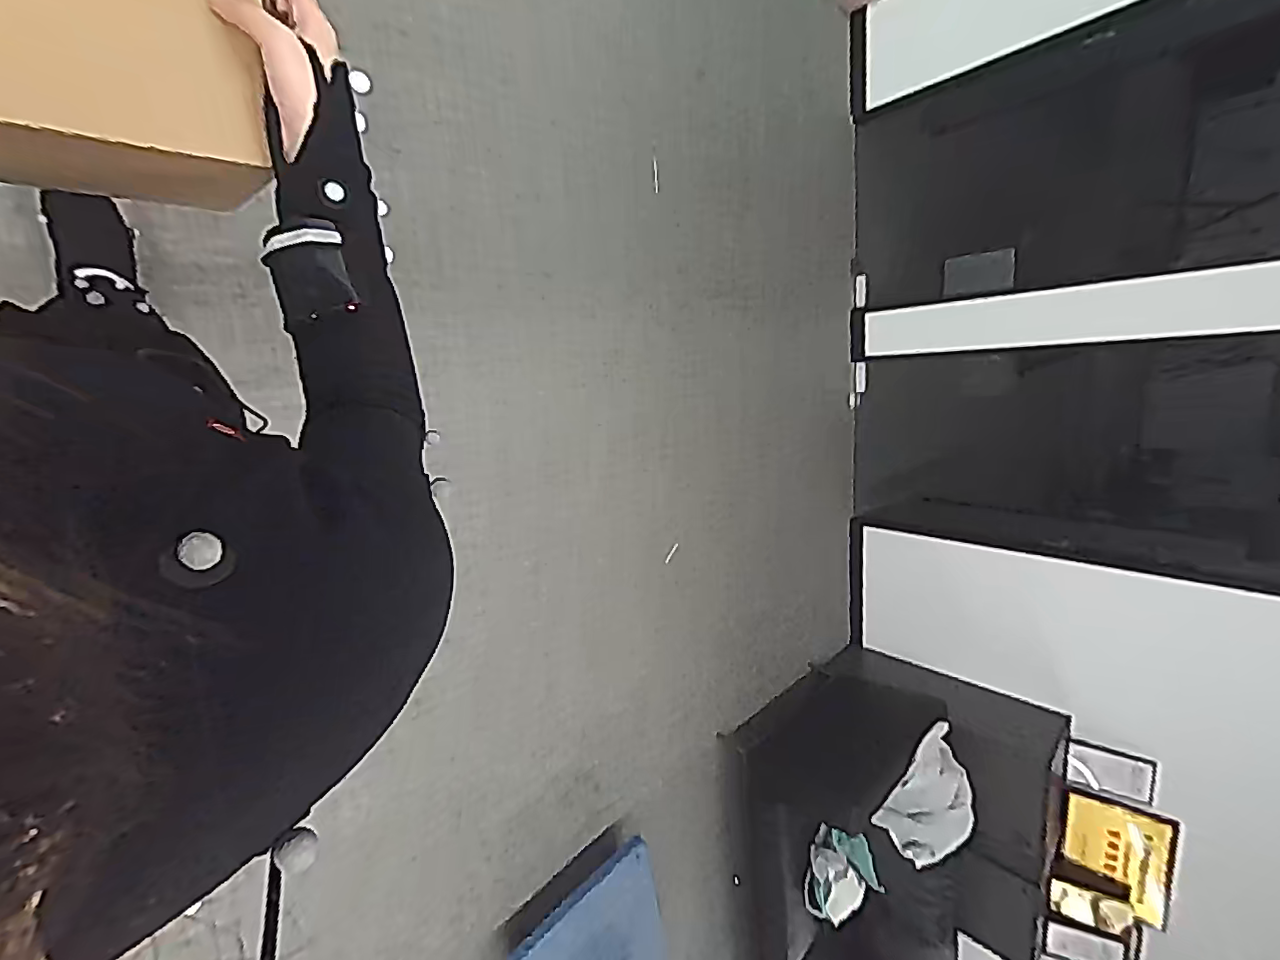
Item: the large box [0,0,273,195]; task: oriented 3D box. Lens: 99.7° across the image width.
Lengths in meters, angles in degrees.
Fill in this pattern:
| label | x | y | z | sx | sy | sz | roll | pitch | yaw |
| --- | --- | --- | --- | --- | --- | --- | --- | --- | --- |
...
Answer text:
| label | x | y | z | sx | sy | sz | roll | pitch | yaw |
| --- | --- | --- | --- | --- | --- | --- | --- | --- | --- |
| large box | -0.525 | -0.397 | 0.357 | 0.408 | 0.320 | 0.320 | -13 | 112 | -39 |
